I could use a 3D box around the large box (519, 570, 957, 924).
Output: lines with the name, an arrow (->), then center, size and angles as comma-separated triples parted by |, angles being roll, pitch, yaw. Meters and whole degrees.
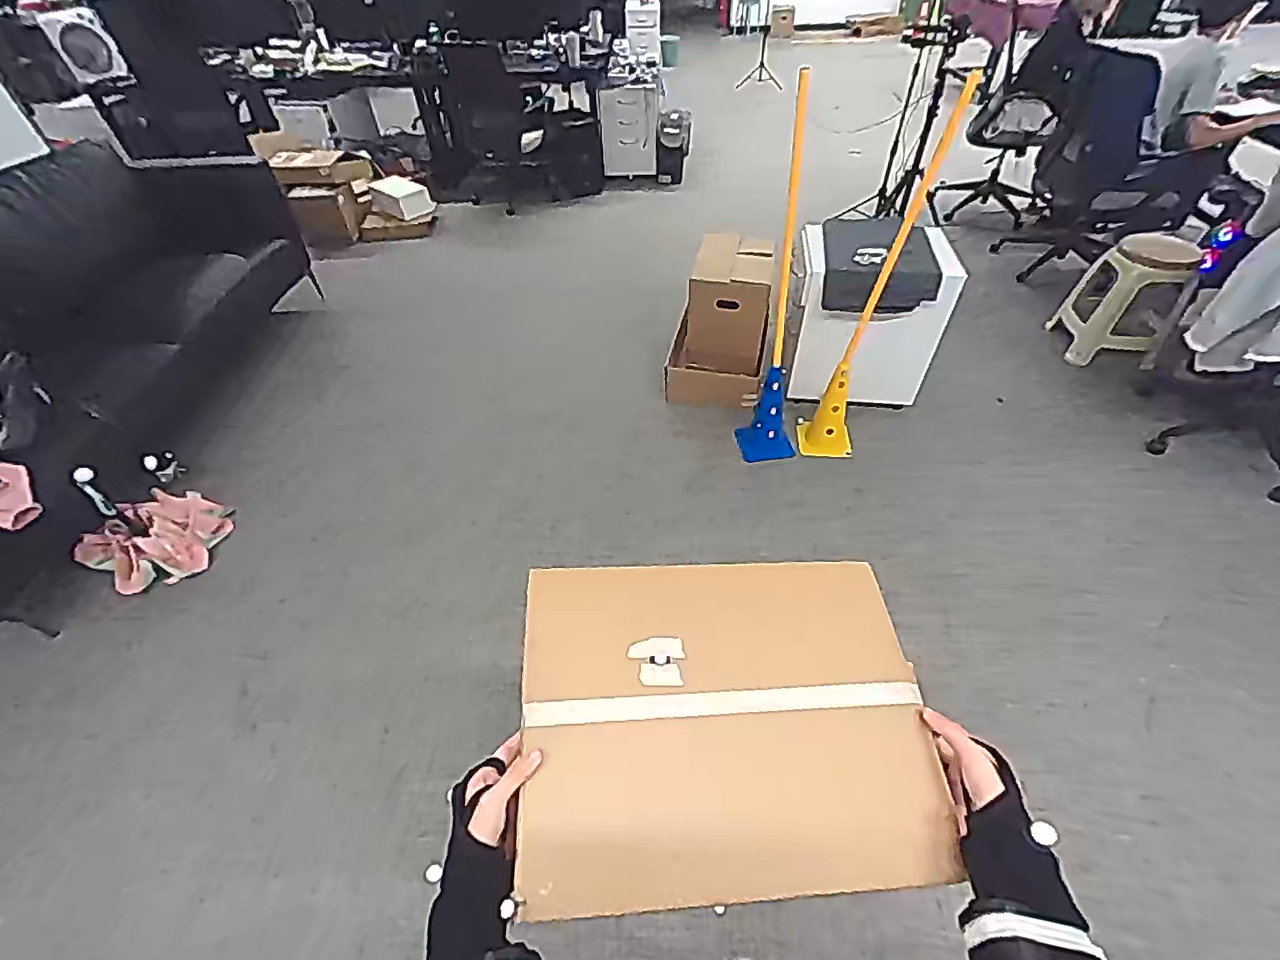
large box -> 0.076, 0.323, 0.678 | 0.408, 0.320, 0.320 | 0, 55, -5
